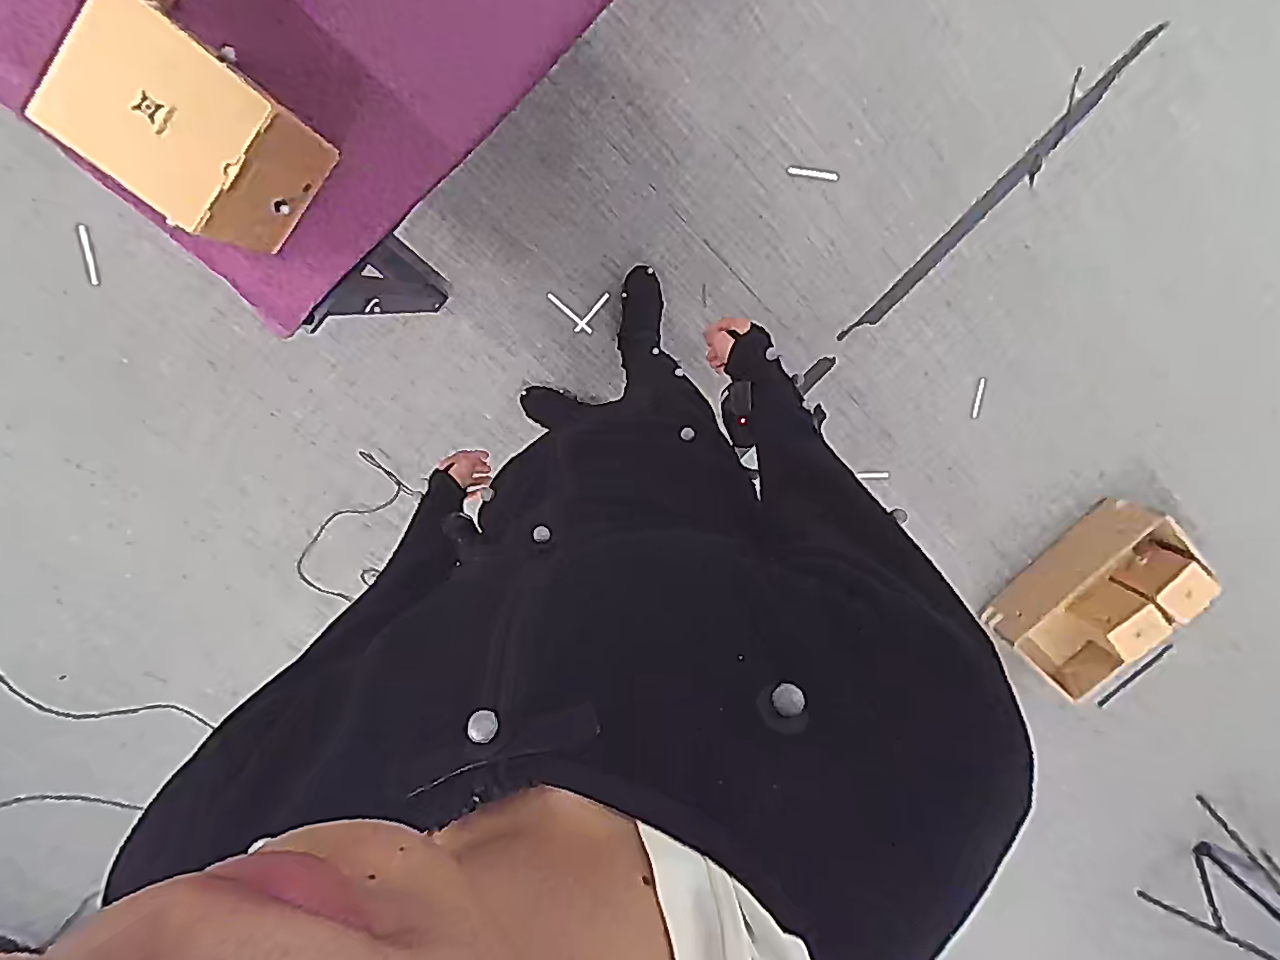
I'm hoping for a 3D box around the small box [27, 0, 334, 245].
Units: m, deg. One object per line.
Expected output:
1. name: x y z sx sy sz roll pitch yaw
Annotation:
1. small box: -0.503 -0.398 0.624 0.179 0.176 0.168 37 99 -16
